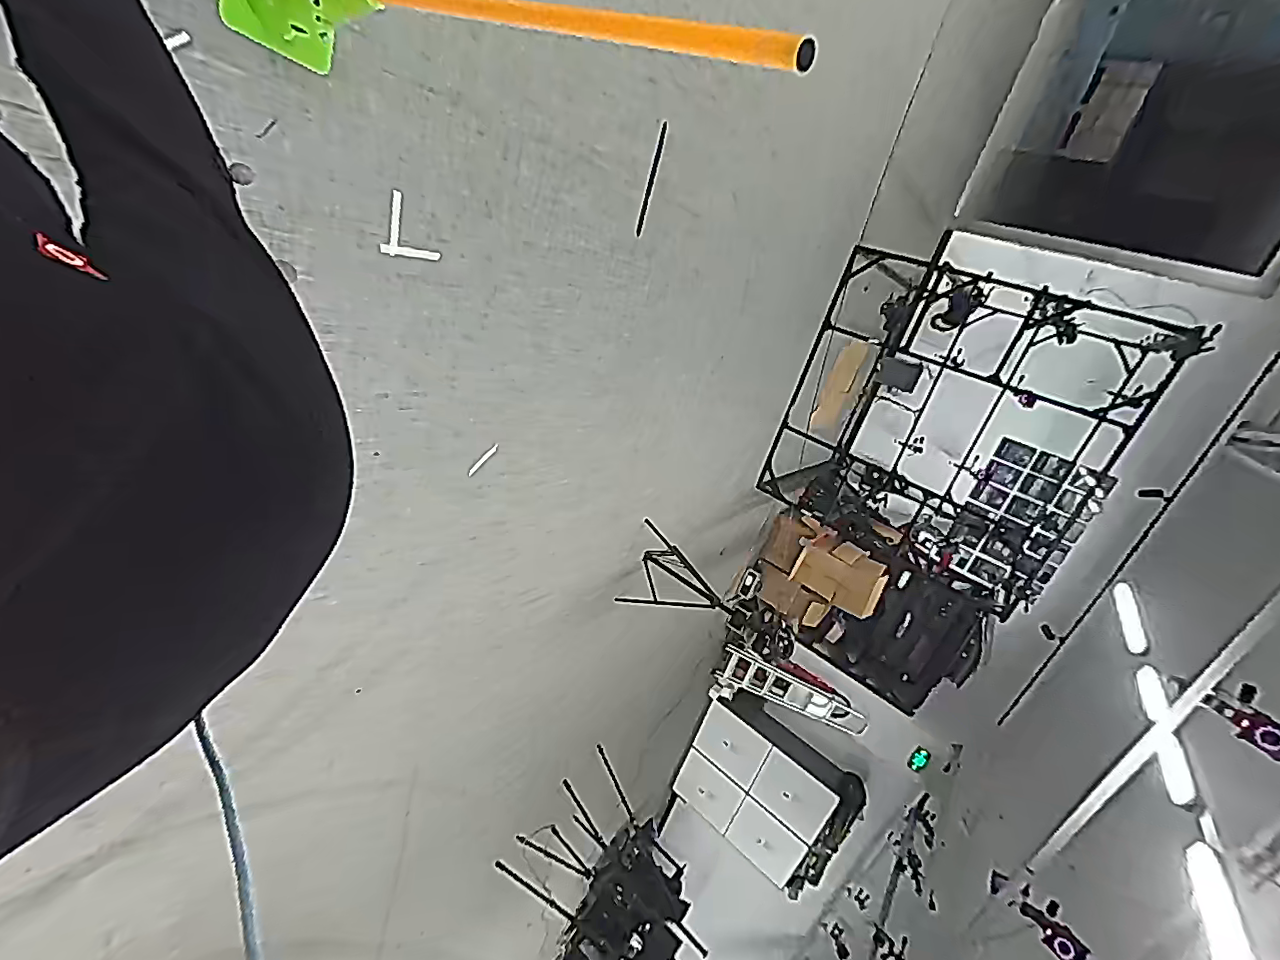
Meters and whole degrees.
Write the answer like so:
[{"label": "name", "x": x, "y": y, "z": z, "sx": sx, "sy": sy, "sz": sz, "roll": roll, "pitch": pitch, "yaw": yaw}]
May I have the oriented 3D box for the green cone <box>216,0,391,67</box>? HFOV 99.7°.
[{"label": "green cone", "x": -0.572, "y": -0.883, "z": 0.975, "sx": 0.202, "sy": 0.368, "sz": 0.200, "roll": -10, "pitch": 125, "yaw": -56}]
